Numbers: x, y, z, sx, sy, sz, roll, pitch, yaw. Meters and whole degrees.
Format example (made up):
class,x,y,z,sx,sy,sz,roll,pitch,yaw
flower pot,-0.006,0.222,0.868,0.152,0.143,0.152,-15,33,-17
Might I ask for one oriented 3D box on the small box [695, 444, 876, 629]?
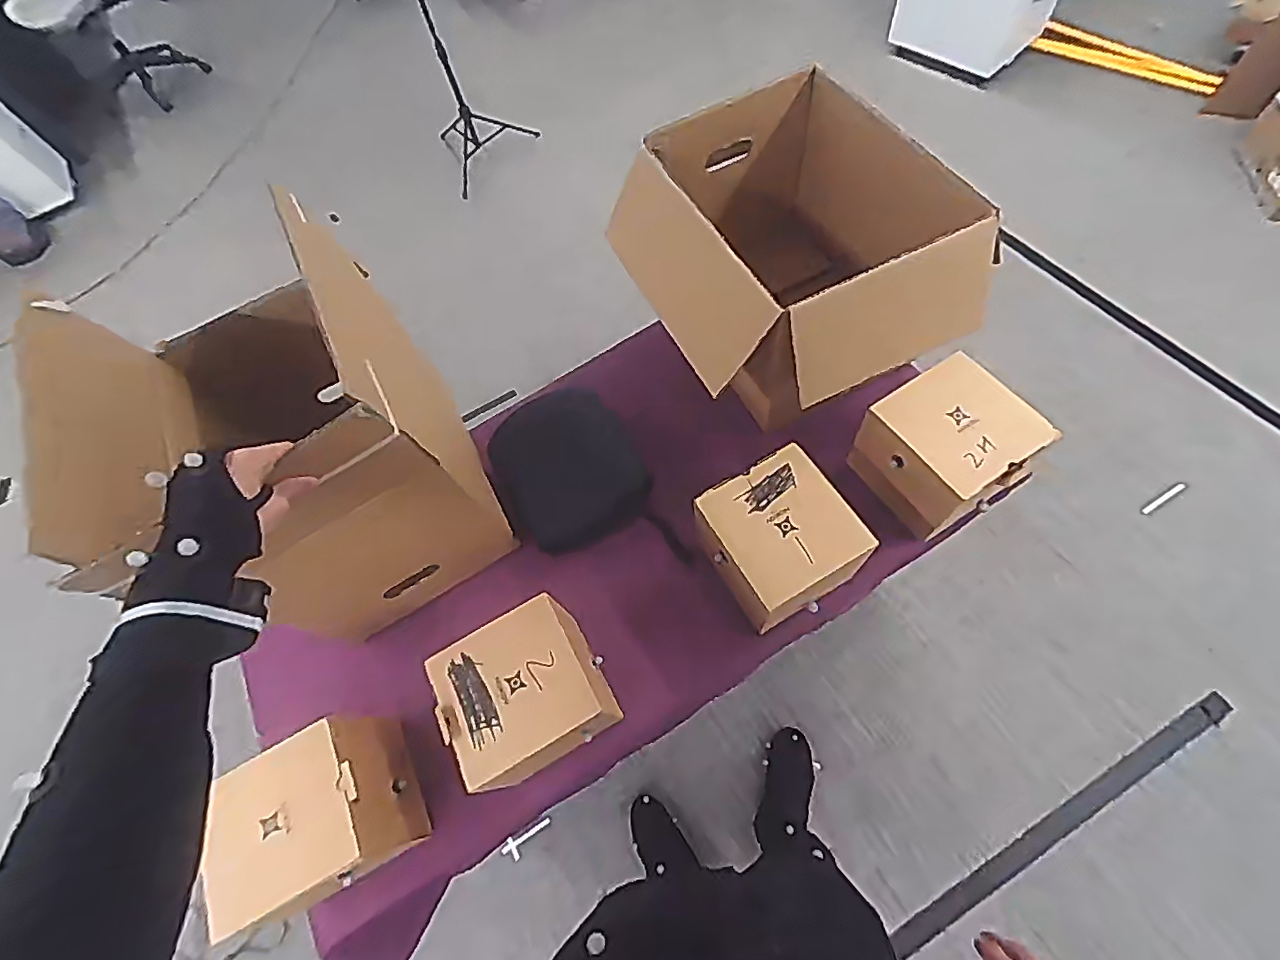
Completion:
class,x,y,z,sx,sy,sz,roll,pitch,yaw
small box,0.192,0.088,0.767,0.168,0.176,0.179,-30,65,-5

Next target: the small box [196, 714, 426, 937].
class,x,y,z,sx,sy,sz,roll,pitch,yaw
small box,-0.410,0.426,0.693,0.179,0.176,0.168,-28,64,-7
